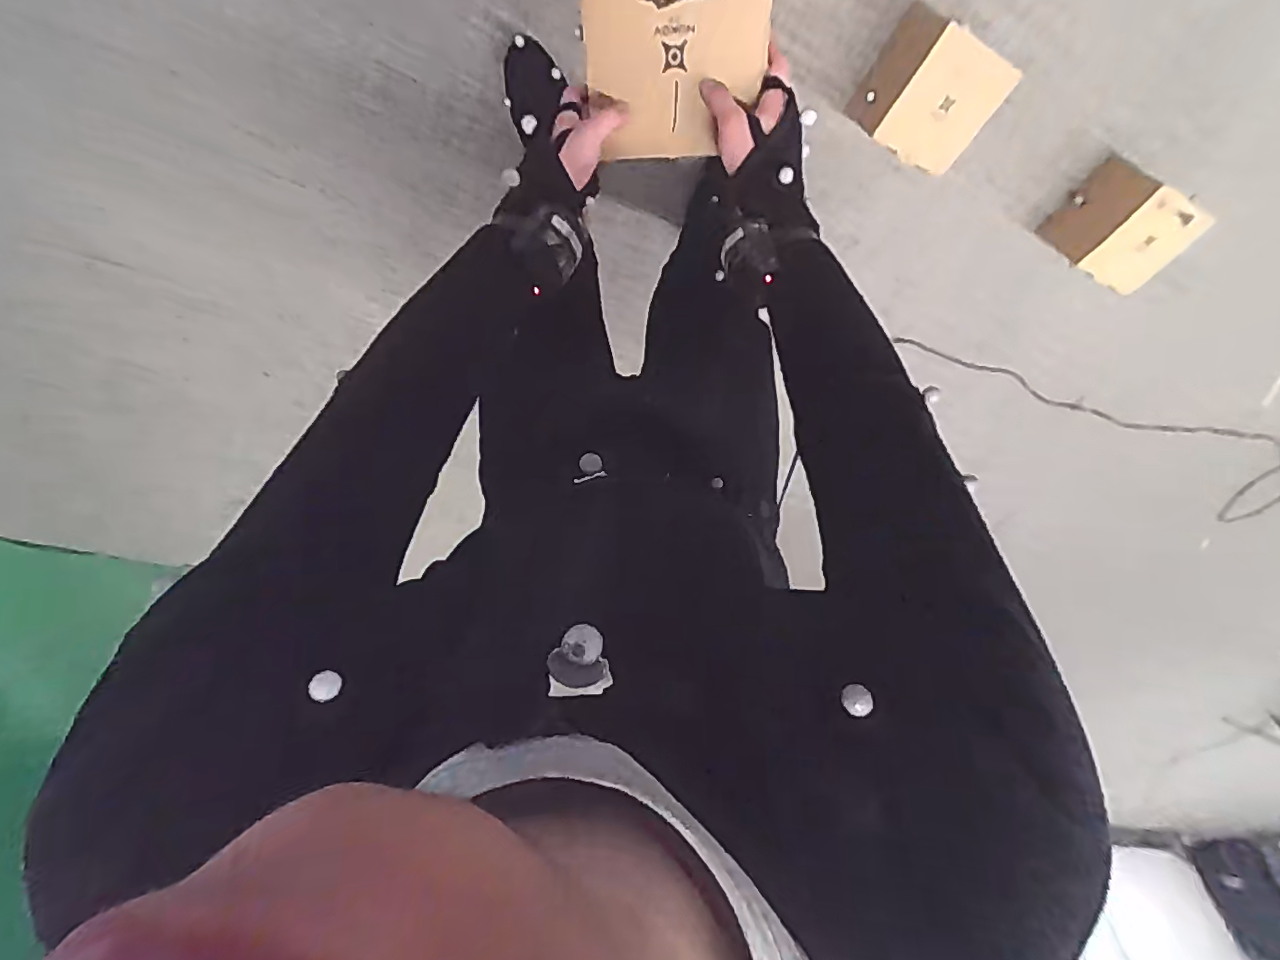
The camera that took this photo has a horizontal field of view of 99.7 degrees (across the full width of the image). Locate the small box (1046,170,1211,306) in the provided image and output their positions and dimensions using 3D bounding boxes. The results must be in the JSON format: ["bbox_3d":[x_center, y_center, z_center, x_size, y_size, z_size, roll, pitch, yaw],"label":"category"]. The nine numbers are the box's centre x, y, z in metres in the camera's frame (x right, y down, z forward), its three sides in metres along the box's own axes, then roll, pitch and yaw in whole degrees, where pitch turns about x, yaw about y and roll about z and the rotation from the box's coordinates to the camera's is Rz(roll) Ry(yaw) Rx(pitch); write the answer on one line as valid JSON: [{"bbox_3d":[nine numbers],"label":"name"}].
[{"bbox_3d":[1.006,-0.508,1.138,0.168,0.176,0.179,17,134,-18],"label":"small box"}]

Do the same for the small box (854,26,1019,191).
[{"bbox_3d":[0.511,-0.664,0.967,0.168,0.176,0.179,16,133,-18],"label":"small box"}]
